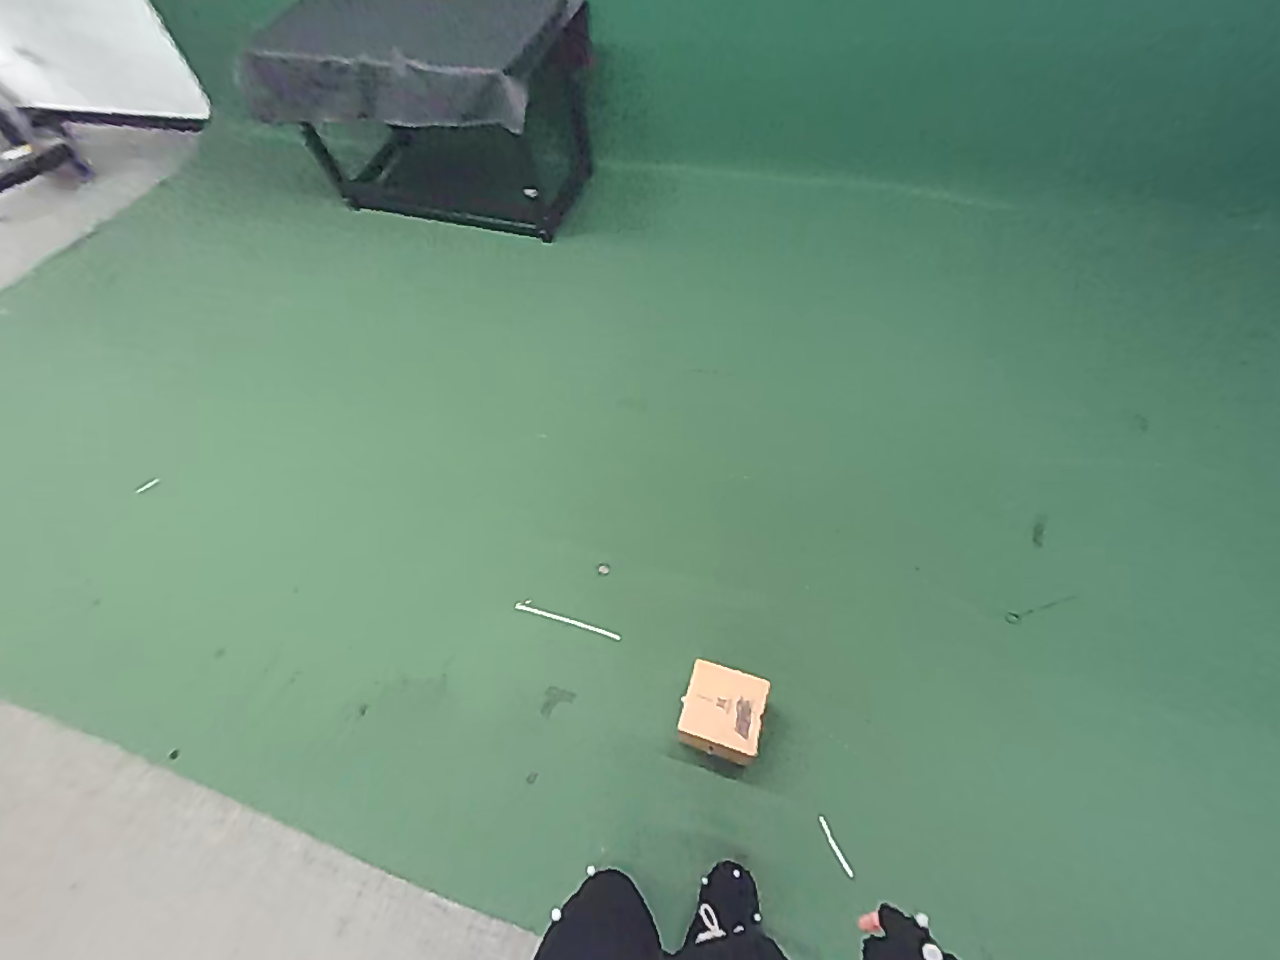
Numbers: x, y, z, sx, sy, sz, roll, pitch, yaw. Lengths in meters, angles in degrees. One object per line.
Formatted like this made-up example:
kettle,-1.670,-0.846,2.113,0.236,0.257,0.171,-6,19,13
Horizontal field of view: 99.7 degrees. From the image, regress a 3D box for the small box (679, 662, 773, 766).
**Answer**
small box,0.197,0.550,1.262,0.179,0.176,0.168,14,58,14
